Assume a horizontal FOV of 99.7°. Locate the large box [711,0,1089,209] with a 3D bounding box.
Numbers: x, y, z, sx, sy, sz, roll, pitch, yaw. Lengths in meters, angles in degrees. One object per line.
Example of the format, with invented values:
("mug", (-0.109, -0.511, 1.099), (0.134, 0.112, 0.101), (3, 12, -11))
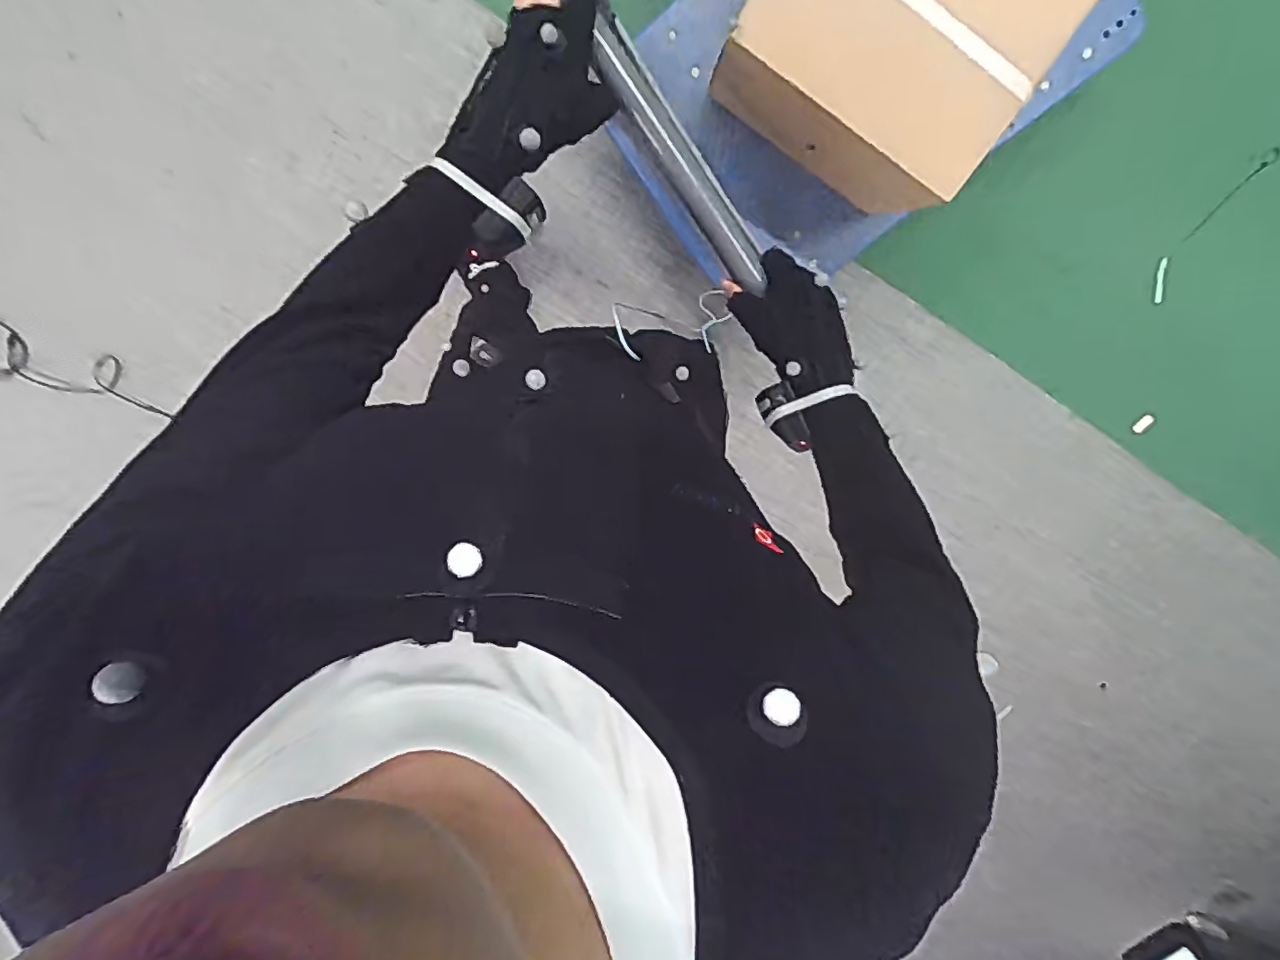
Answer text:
("large box", (0.372, -0.694, 0.867), (0.408, 0.320, 0.320), (30, 110, -10))
